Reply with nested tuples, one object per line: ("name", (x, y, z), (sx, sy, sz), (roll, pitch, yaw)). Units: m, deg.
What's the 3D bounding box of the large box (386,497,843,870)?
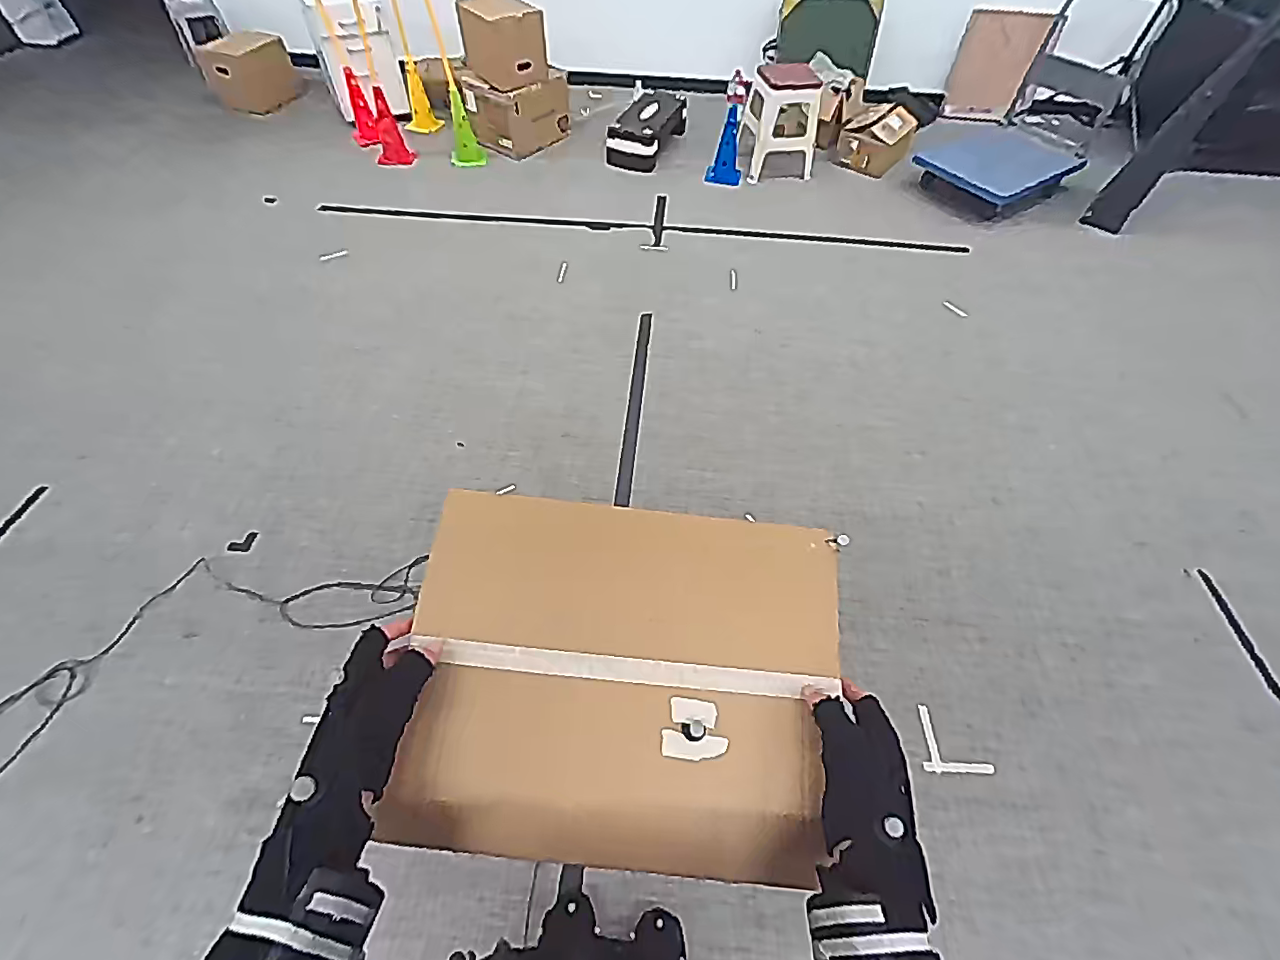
("large box", (-0.018, 0.231, 0.655), (0.408, 0.320, 0.320), (6, 69, -1))
